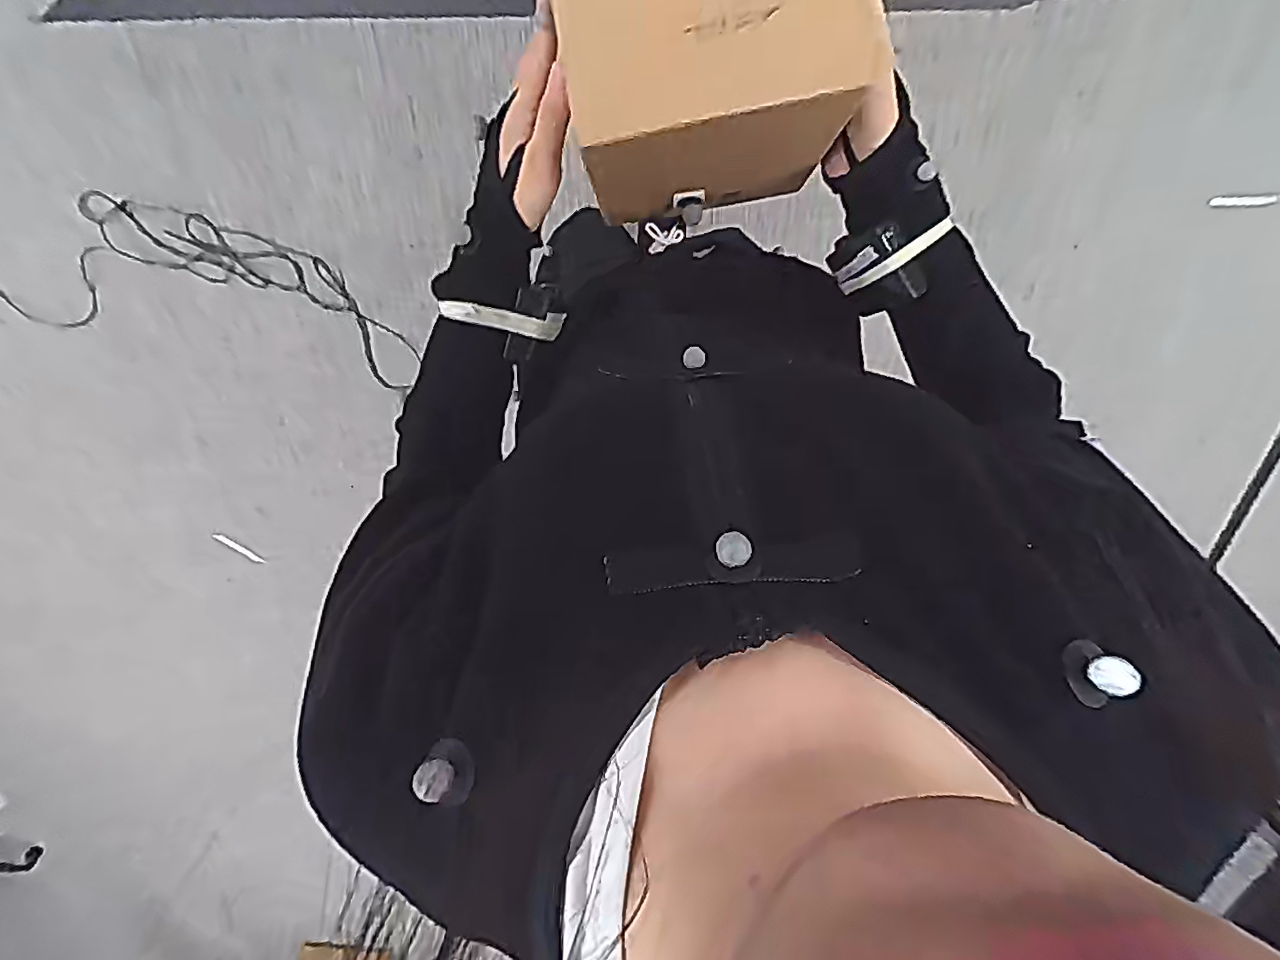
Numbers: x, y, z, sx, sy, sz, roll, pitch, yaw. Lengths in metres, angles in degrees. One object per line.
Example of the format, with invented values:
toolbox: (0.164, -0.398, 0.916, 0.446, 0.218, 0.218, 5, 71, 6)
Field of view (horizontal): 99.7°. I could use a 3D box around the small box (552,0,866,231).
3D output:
small box: (0.034, -0.296, 0.368, 0.168, 0.176, 0.179, -10, 100, 5)
